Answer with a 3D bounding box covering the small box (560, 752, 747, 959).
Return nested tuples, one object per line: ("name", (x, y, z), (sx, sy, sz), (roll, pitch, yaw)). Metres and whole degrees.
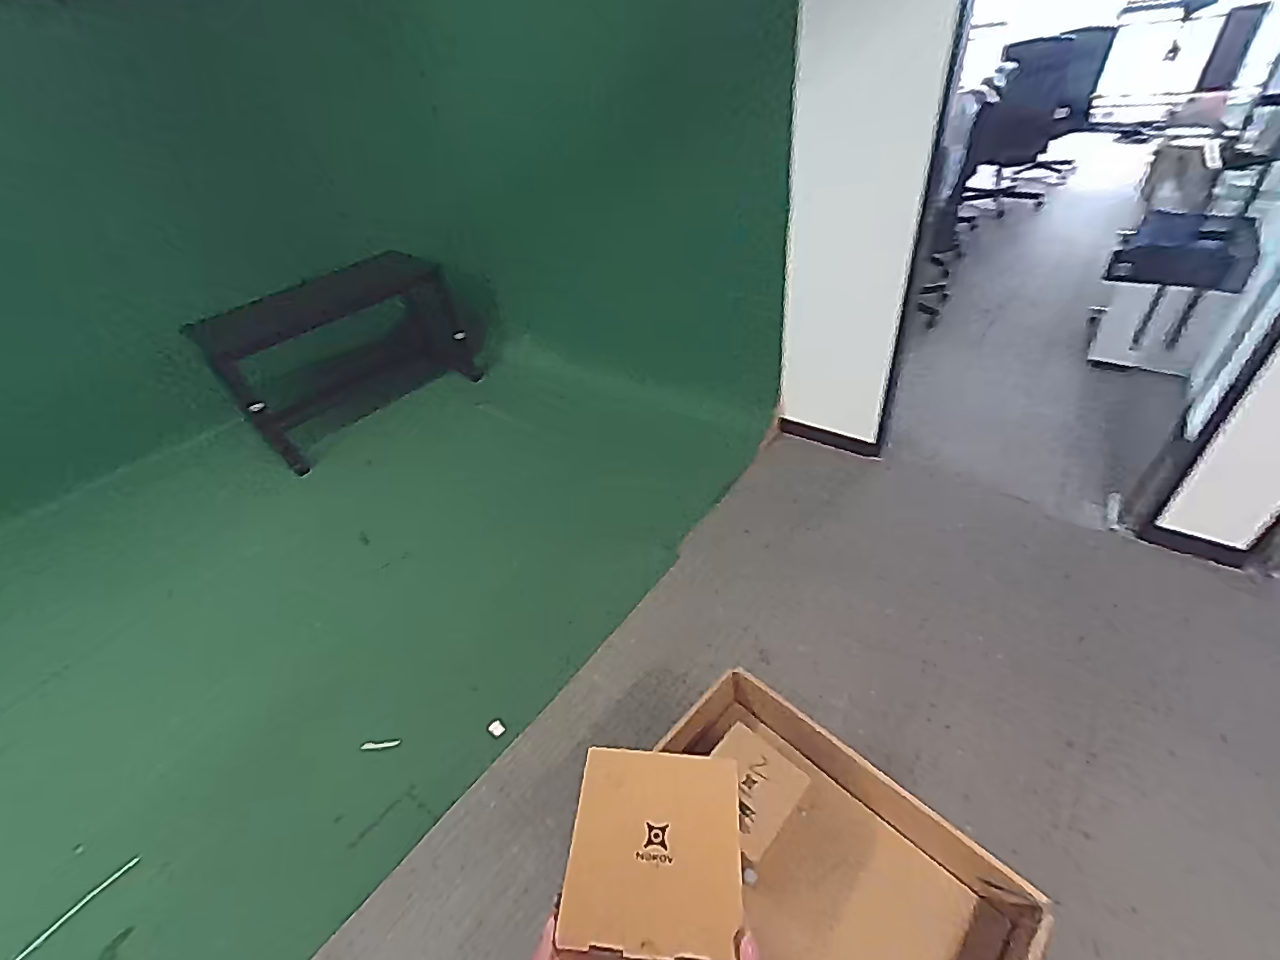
("small box", (0.017, 0.422, 0.575), (0.168, 0.176, 0.179), (3, 39, 4))
